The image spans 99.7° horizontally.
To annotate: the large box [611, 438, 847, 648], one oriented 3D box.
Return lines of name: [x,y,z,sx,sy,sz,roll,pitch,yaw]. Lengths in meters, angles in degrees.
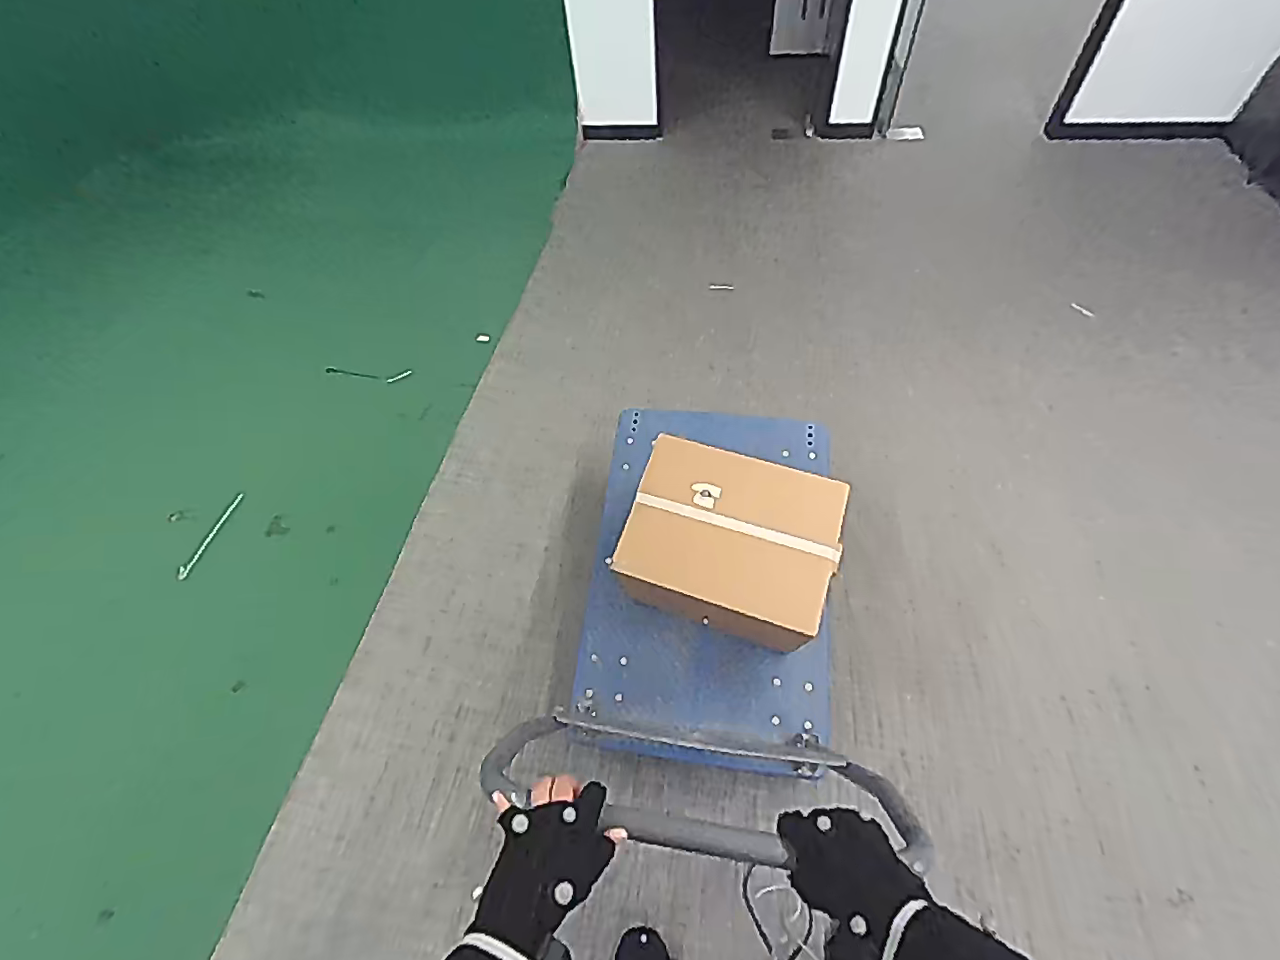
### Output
large box: [0.196,0.151,1.200,0.408,0.320,0.320,17,70,13]
